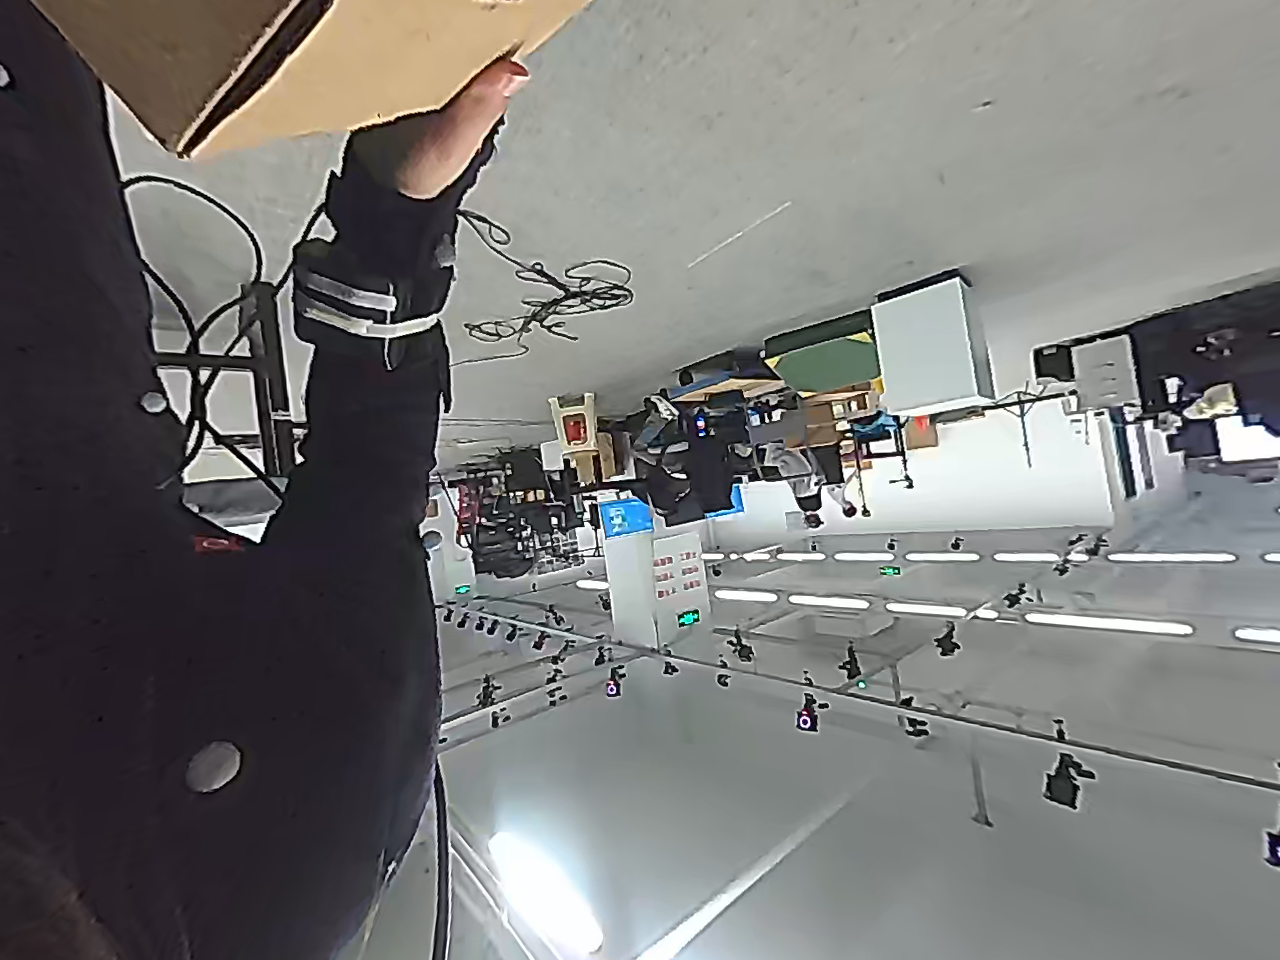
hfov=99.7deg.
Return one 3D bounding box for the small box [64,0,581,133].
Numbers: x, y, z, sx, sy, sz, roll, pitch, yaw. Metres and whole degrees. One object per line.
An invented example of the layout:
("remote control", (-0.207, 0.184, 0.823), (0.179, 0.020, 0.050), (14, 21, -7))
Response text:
("small box", (-0.076, -0.227, 0.133), (0.179, 0.176, 0.168), (-15, -147, 29))
